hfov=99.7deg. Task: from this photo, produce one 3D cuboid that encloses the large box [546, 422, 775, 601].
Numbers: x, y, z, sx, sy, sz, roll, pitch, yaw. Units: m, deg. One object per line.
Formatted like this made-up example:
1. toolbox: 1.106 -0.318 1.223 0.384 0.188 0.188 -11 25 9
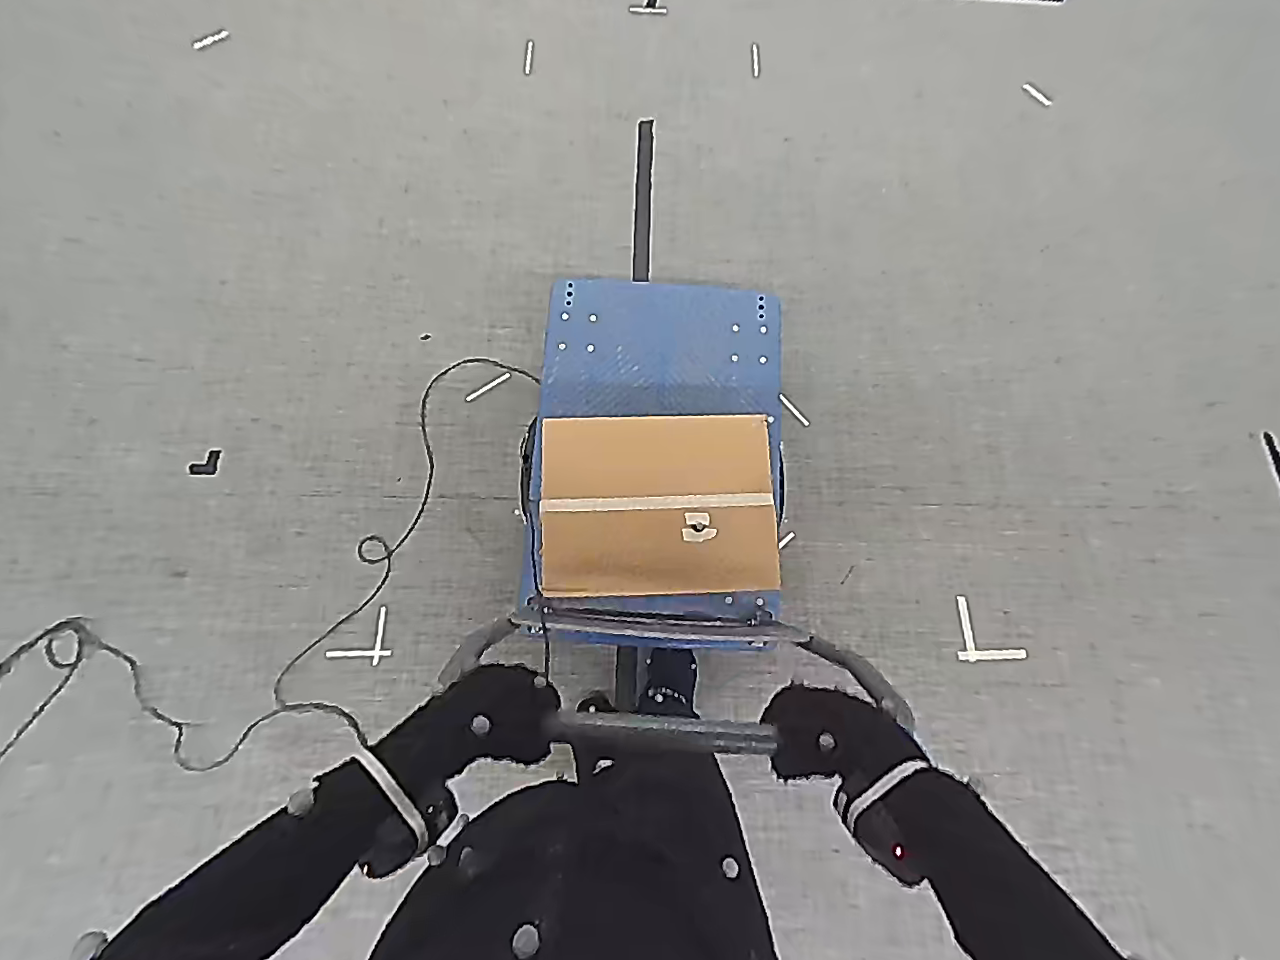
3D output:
1. large box: 0.025 0.078 1.106 0.408 0.320 0.320 -1 79 -3
